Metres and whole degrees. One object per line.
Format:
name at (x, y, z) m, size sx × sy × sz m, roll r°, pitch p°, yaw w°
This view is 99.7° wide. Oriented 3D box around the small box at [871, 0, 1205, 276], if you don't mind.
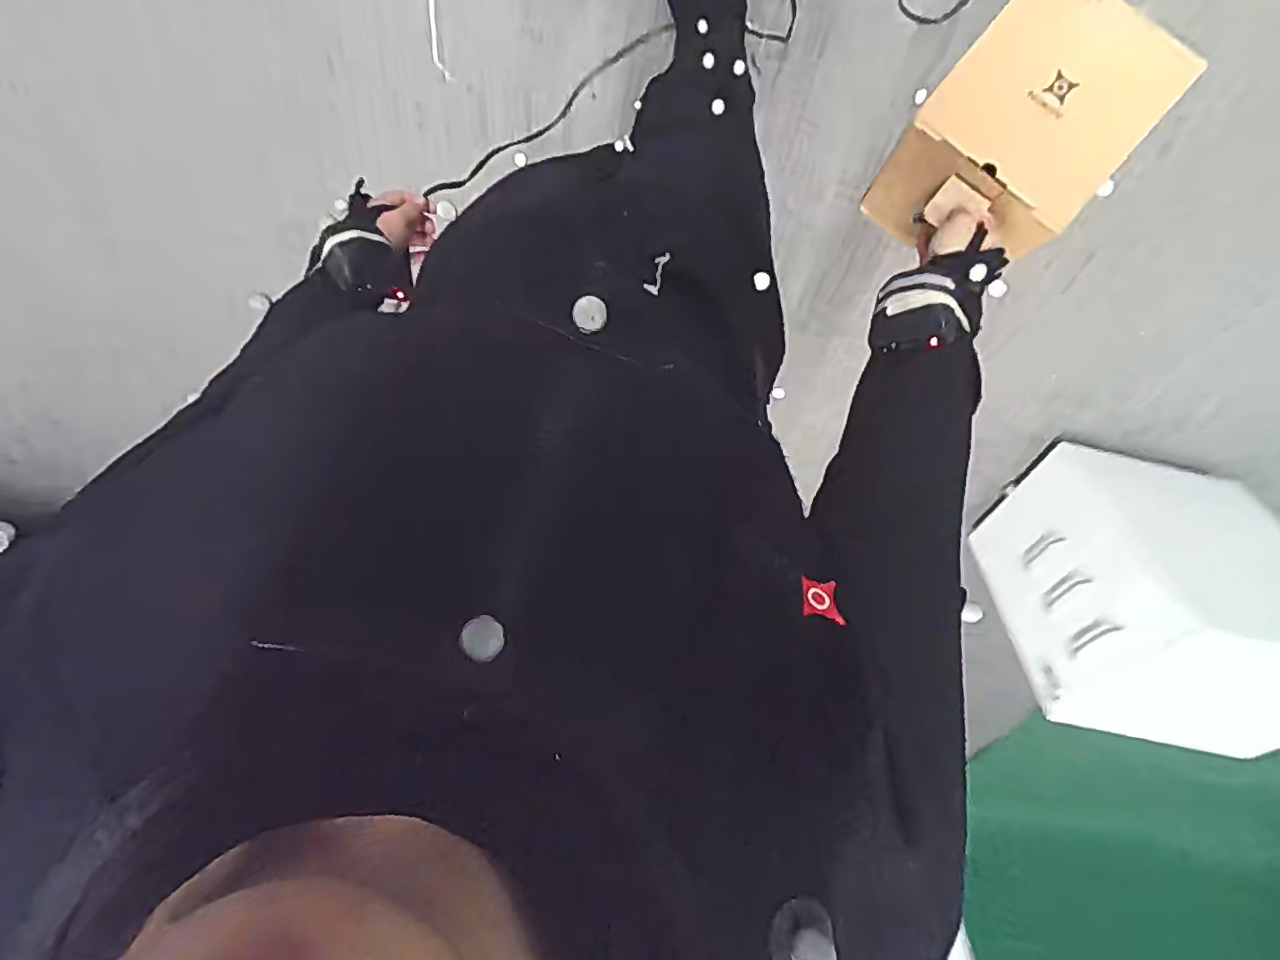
small box at (0.368, -0.344, 0.544) m, size 0.168 × 0.176 × 0.179 m, roll 39°, pitch 95°, yaw 3°
